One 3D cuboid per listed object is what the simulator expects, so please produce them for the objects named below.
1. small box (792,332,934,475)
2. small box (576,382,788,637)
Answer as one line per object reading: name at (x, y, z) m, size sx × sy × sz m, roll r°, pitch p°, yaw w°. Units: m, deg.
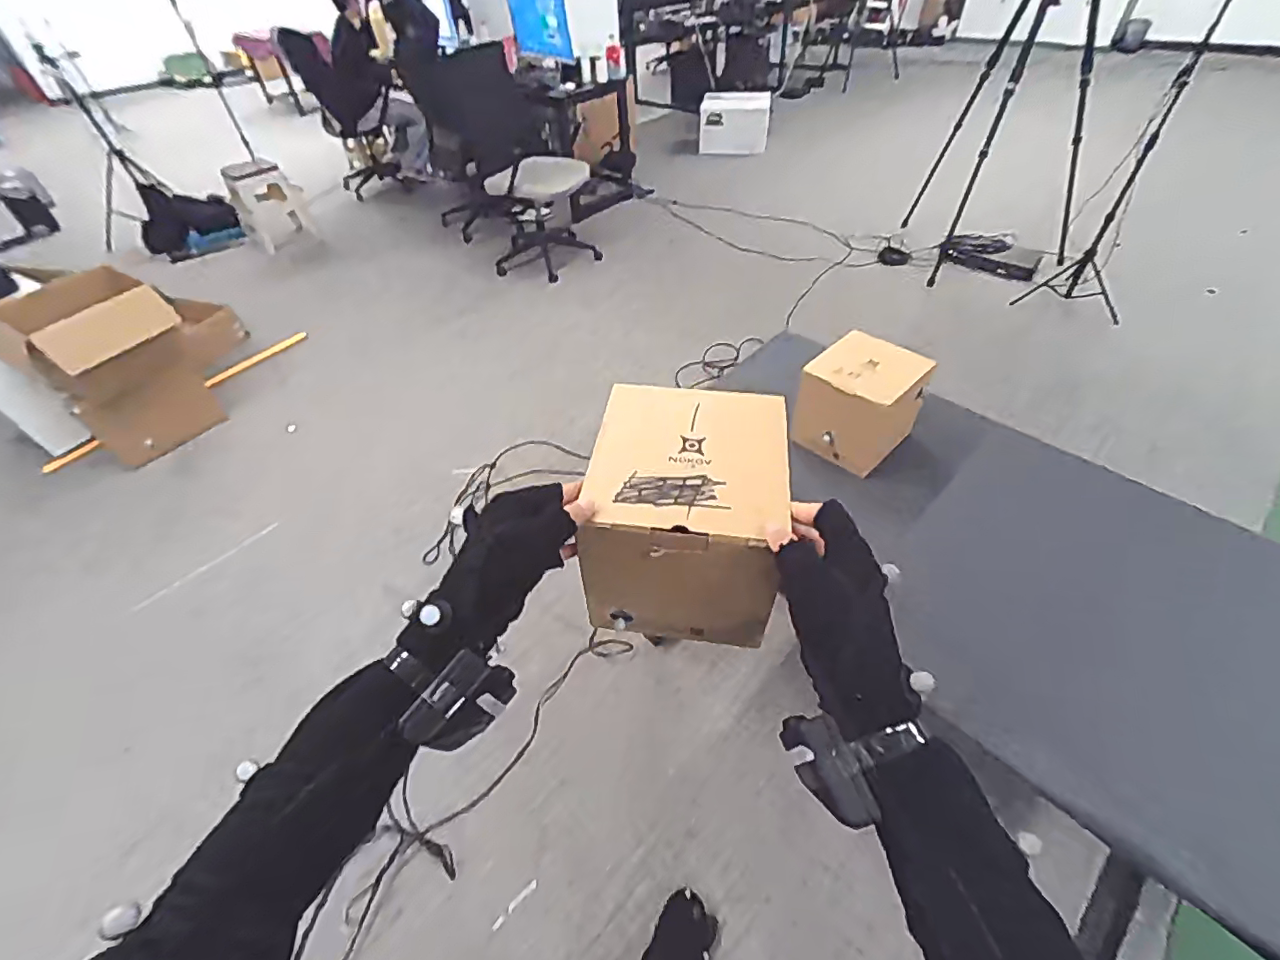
small box at (0.405, -0.143, 1.010) m, size 0.179 × 0.176 × 0.168 m, roll -37°, pitch 54°, yaw -27°
small box at (0.046, 0.030, 0.521) m, size 0.168 × 0.176 × 0.179 m, roll 7°, pitch 46°, yaw 7°
